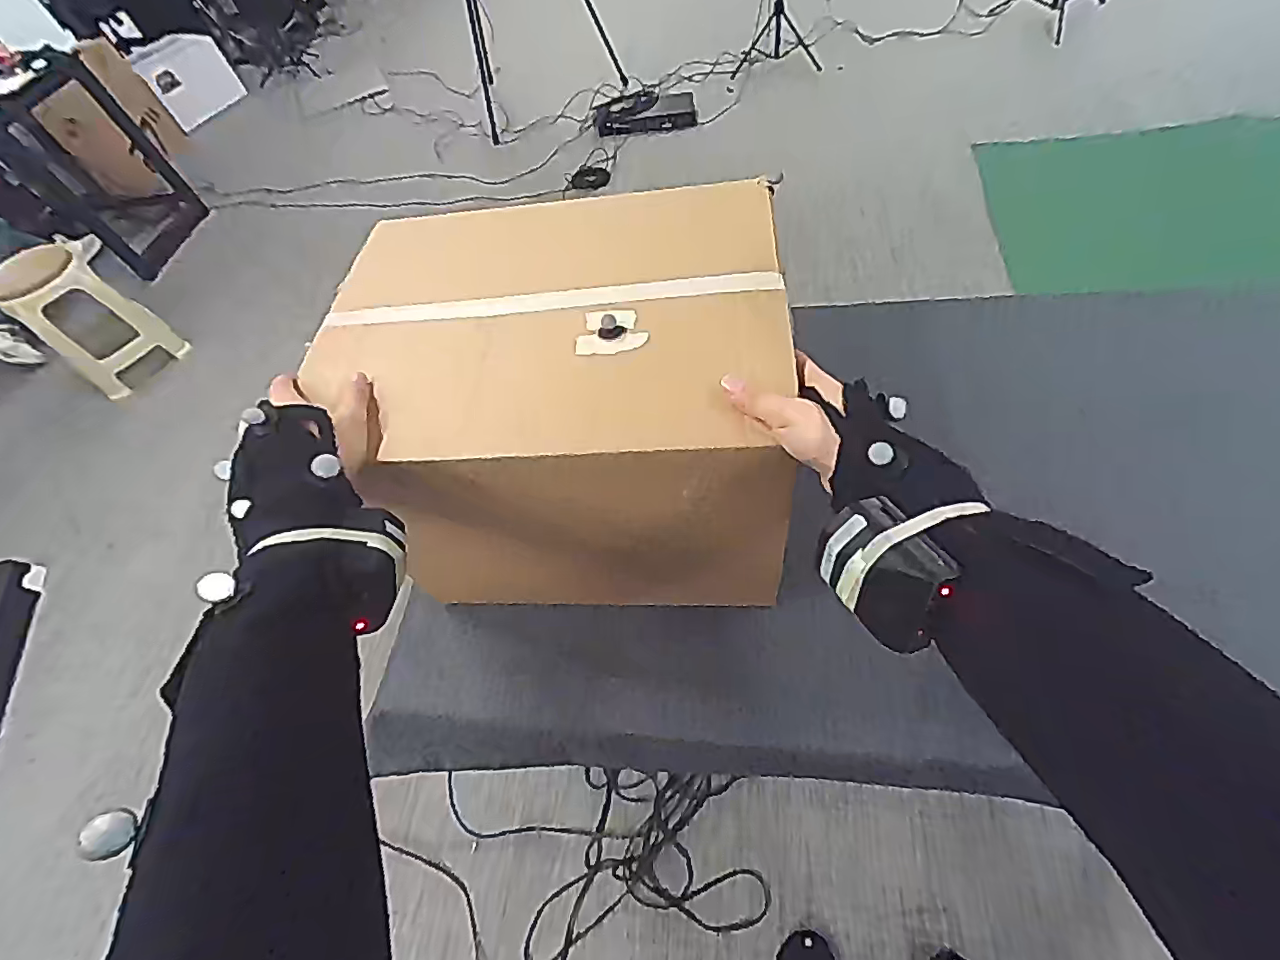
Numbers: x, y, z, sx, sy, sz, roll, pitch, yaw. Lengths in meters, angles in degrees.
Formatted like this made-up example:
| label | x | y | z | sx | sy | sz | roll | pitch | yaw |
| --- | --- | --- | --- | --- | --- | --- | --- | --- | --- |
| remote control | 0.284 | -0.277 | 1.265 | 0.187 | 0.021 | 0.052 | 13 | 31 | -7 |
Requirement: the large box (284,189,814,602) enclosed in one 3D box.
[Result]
| label | x | y | z | sx | sy | sz | roll | pitch | yaw |
| --- | --- | --- | --- | --- | --- | --- | --- | --- | --- |
| large box | -0.055 | -0.066 | 0.591 | 0.408 | 0.320 | 0.320 | -2 | 58 | 8 |
